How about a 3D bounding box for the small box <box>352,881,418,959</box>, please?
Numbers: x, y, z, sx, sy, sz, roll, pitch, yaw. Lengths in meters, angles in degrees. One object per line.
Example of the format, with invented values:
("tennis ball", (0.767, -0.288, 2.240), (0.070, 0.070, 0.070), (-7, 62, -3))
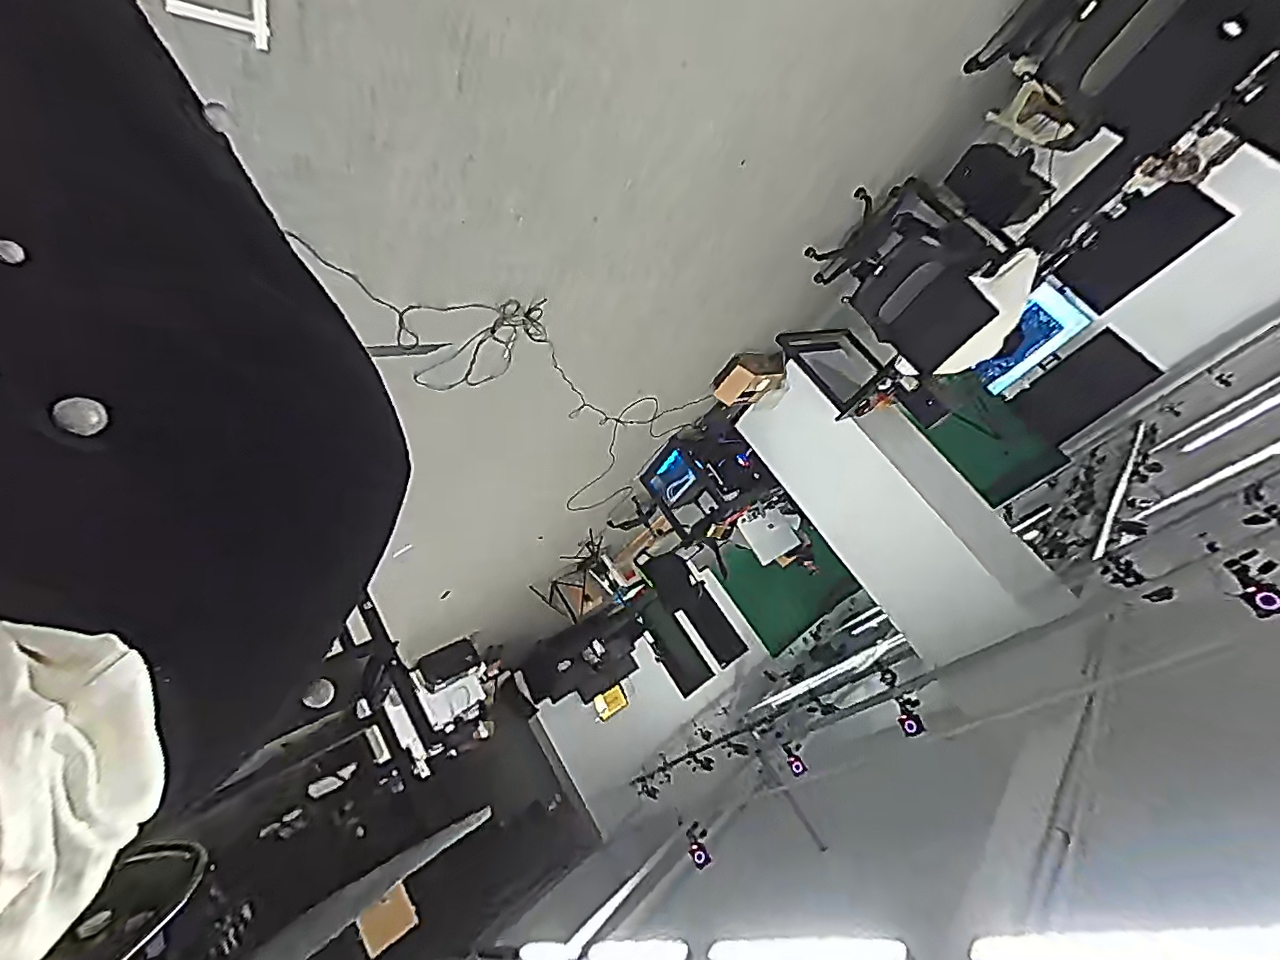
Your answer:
("small box", (-0.937, 1.608, 1.978), (0.168, 0.176, 0.179), (-22, 158, -39))
